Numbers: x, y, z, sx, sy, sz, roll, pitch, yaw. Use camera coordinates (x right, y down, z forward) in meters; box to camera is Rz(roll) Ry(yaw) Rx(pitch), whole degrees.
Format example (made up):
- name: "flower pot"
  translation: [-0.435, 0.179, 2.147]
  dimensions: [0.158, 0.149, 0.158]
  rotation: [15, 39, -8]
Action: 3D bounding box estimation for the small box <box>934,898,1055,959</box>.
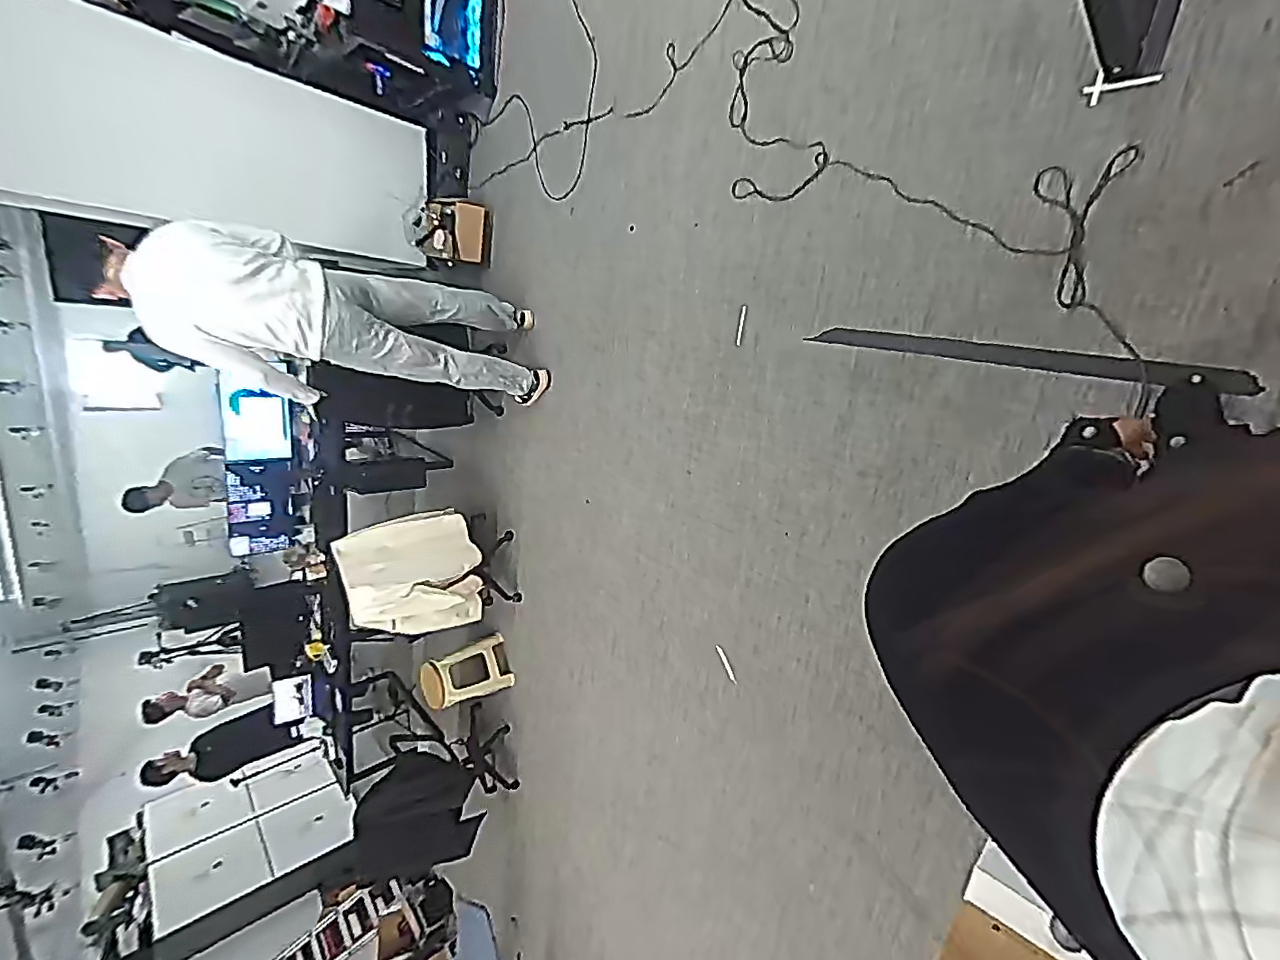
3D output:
- name: "small box"
  translation: [0.617, 0.911, 0.956]
  dimensions: [0.168, 0.176, 0.179]
  rotation: [17, 109, 42]
